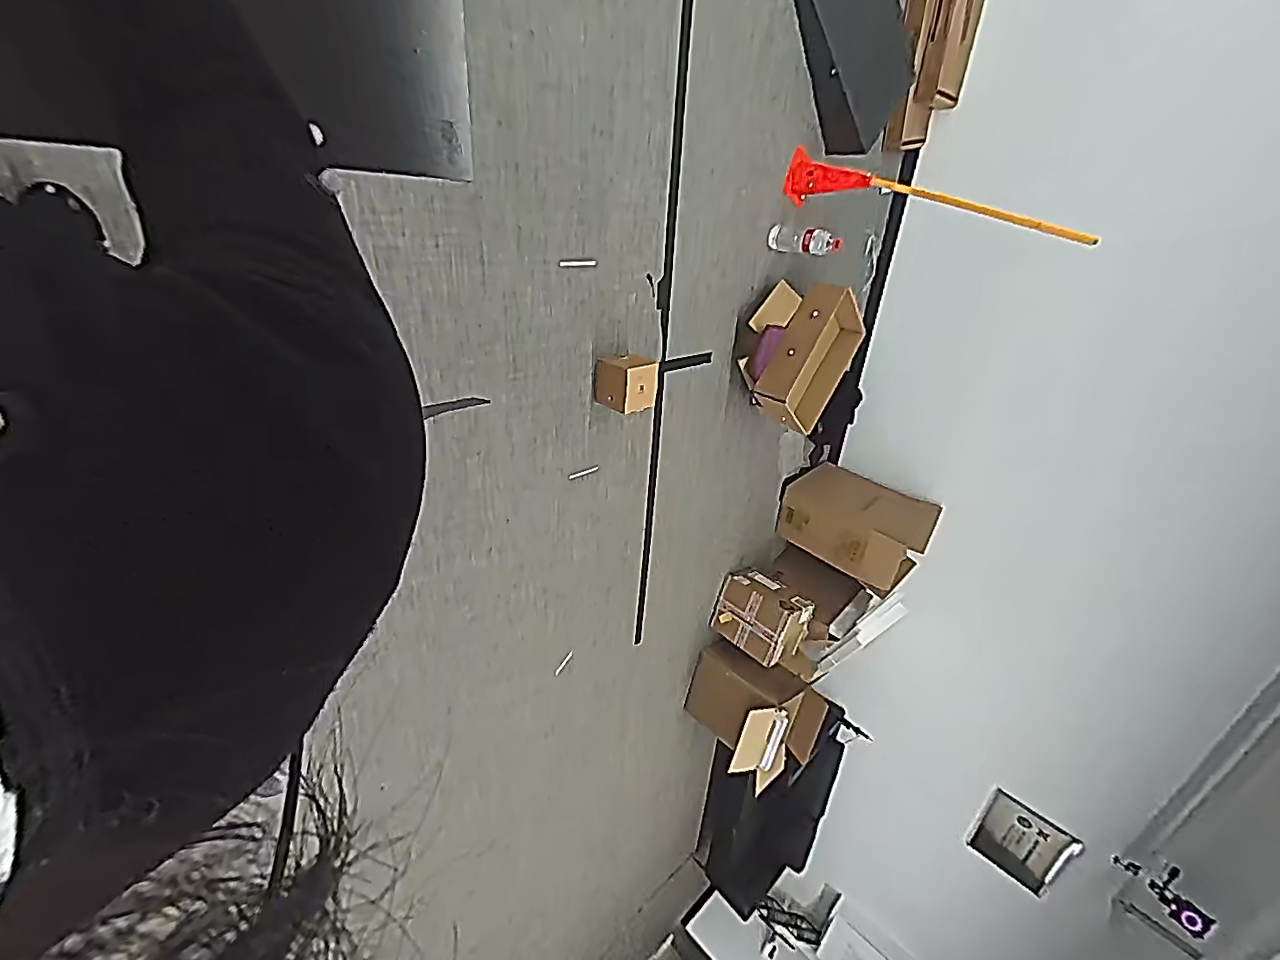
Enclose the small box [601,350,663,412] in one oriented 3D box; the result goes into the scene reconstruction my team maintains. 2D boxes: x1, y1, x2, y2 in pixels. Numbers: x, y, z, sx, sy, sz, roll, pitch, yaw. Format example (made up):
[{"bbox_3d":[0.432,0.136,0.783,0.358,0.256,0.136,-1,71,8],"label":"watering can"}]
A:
[{"bbox_3d":[-0.034,-0.378,2.043,0.168,0.176,0.179,-23,127,-40],"label":"small box"}]
